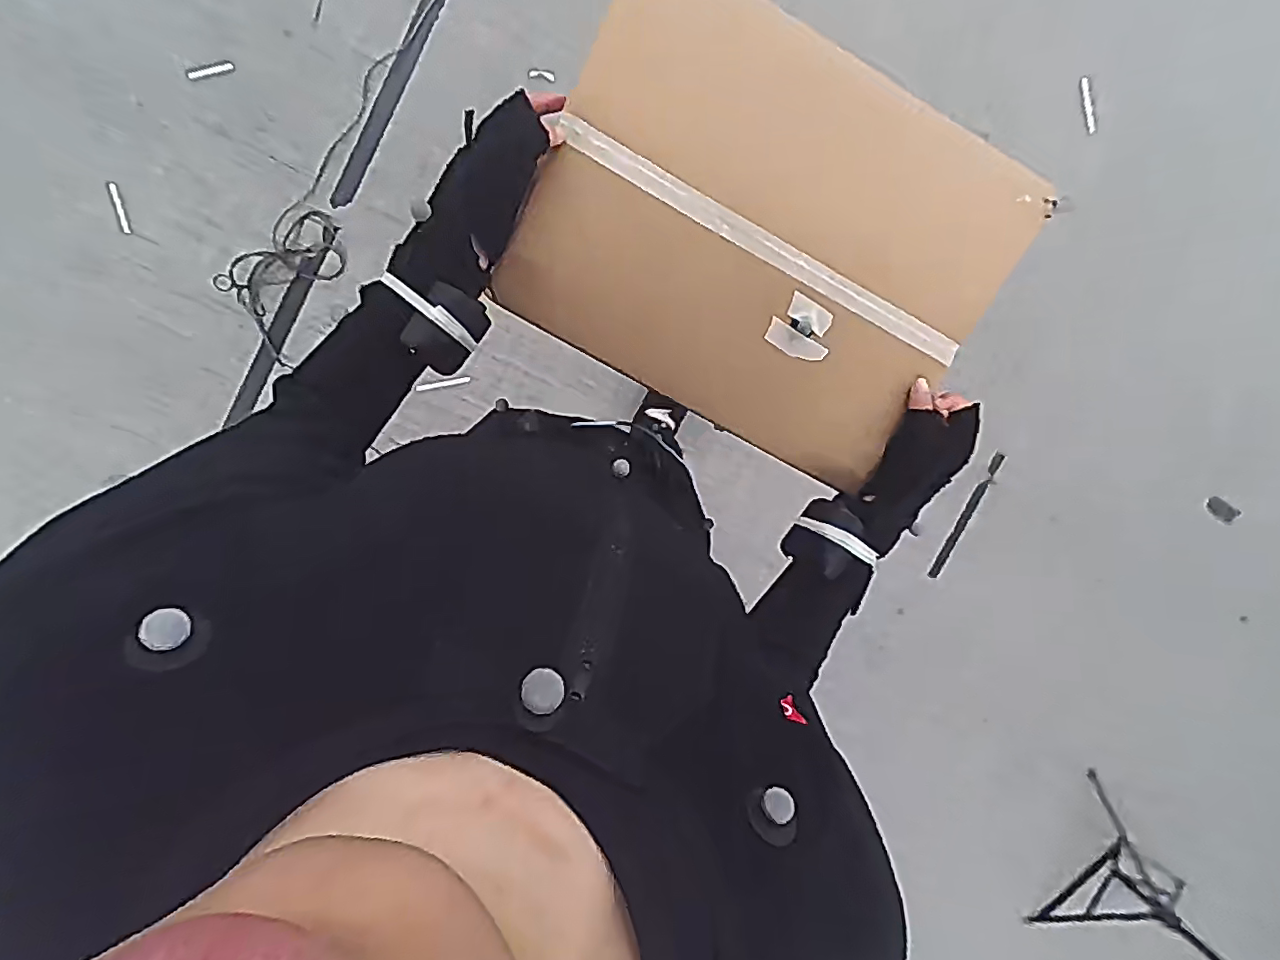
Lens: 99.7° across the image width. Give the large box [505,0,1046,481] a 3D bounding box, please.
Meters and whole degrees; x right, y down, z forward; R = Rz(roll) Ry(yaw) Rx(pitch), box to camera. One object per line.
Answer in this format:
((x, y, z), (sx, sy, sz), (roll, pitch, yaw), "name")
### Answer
((0.115, -0.252, 0.631), (0.408, 0.320, 0.320), (28, 104, -7), "large box")
